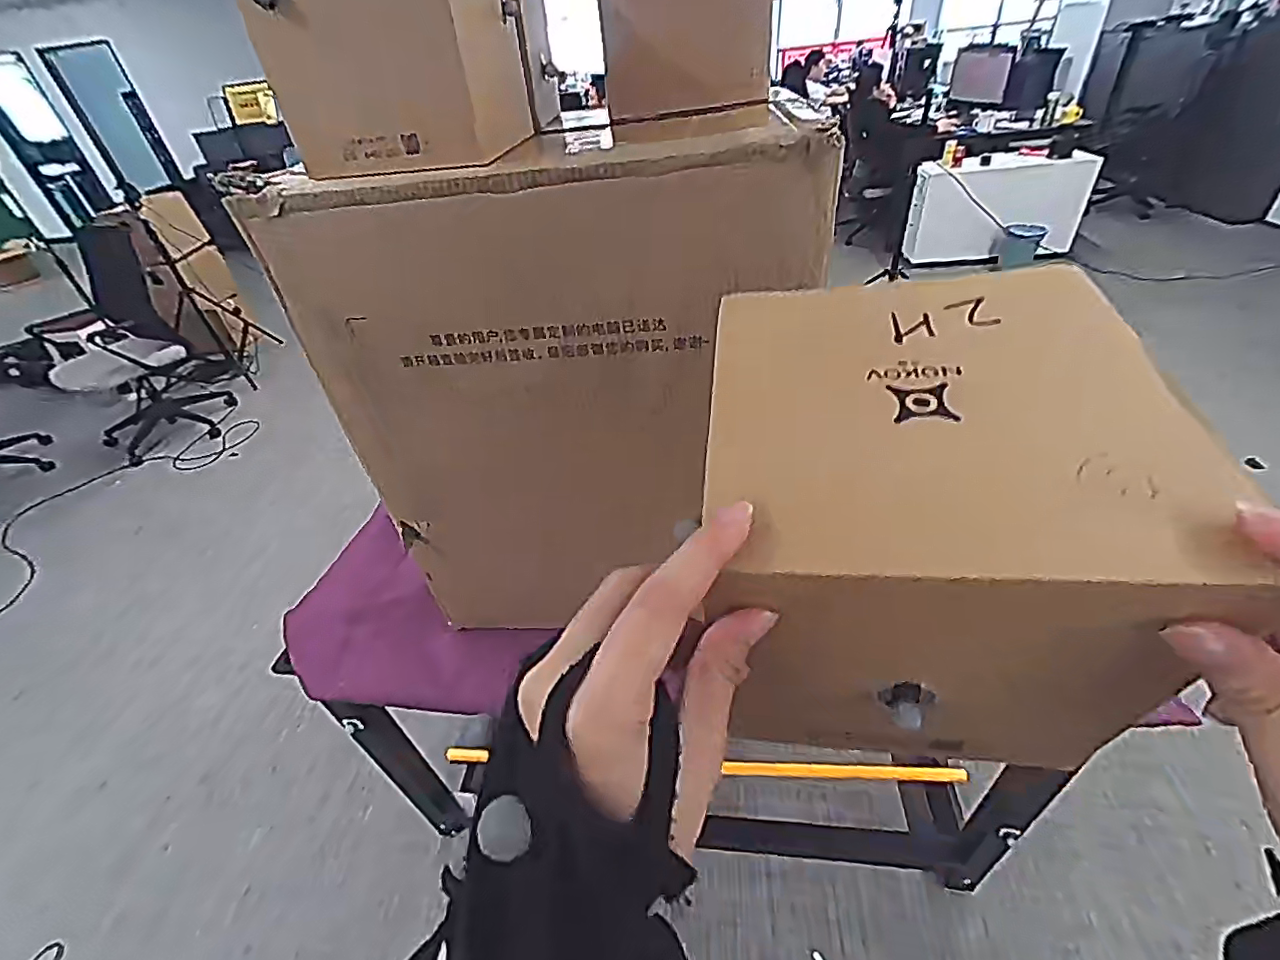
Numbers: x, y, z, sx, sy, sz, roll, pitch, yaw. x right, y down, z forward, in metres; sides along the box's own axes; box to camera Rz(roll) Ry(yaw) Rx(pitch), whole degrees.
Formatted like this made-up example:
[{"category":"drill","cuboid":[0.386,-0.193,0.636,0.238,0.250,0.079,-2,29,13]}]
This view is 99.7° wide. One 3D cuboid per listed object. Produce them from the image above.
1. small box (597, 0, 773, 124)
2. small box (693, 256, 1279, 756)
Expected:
[{"category":"small box","cuboid":[0.051,-0.510,0.594,0.179,0.176,0.168,-3,39,7]},{"category":"small box","cuboid":[0.123,0.017,0.267,0.168,0.176,0.179,0,47,13]}]
